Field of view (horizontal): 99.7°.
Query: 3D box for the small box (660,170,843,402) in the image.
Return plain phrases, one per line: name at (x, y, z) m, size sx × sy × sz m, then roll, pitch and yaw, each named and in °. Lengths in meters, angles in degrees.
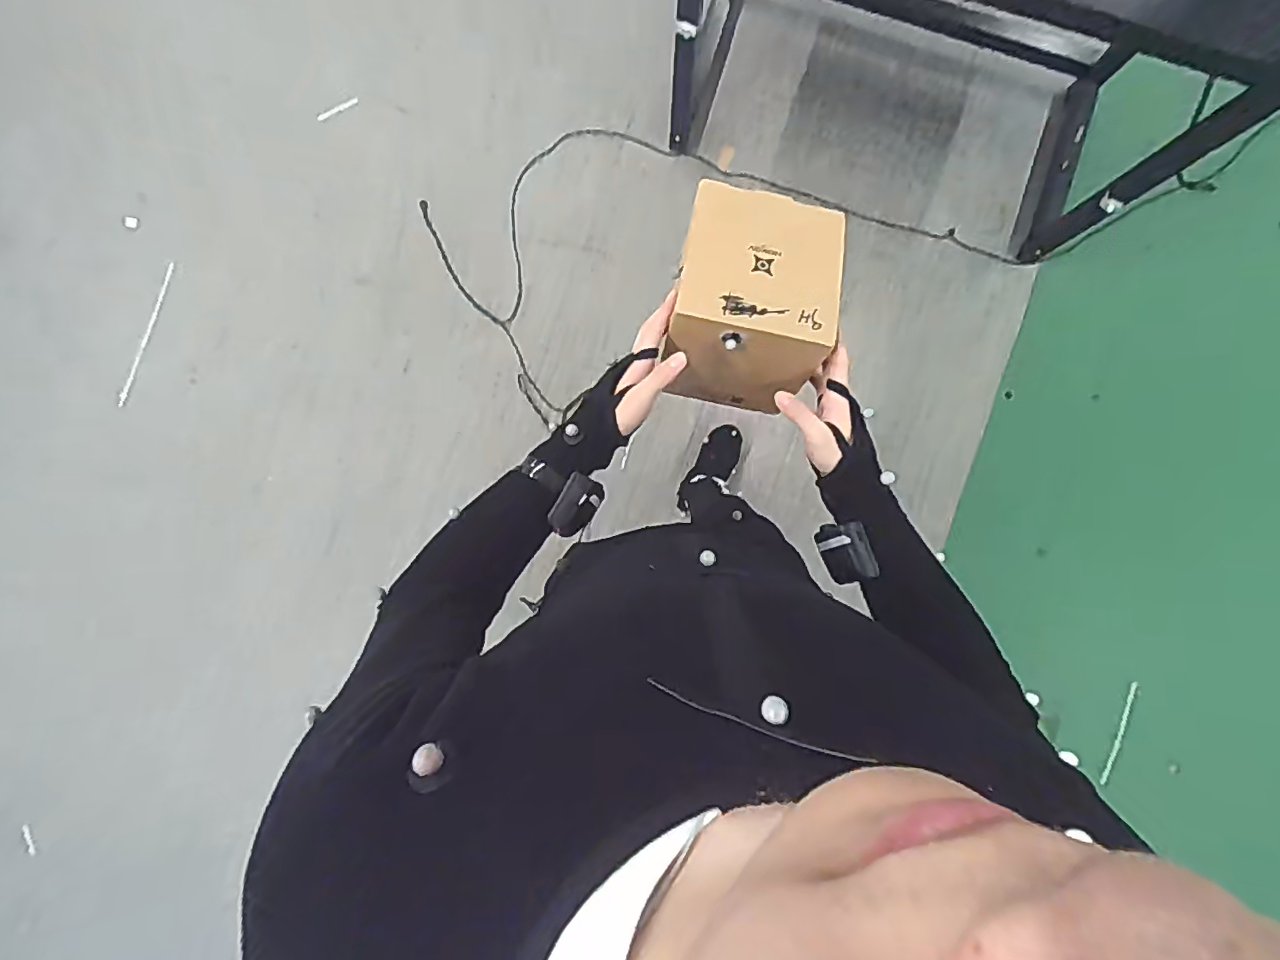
small box at (0.123, -0.218, 0.641) m, size 0.168 × 0.176 × 0.179 m, roll 11°, pitch 71°, yaw -2°
